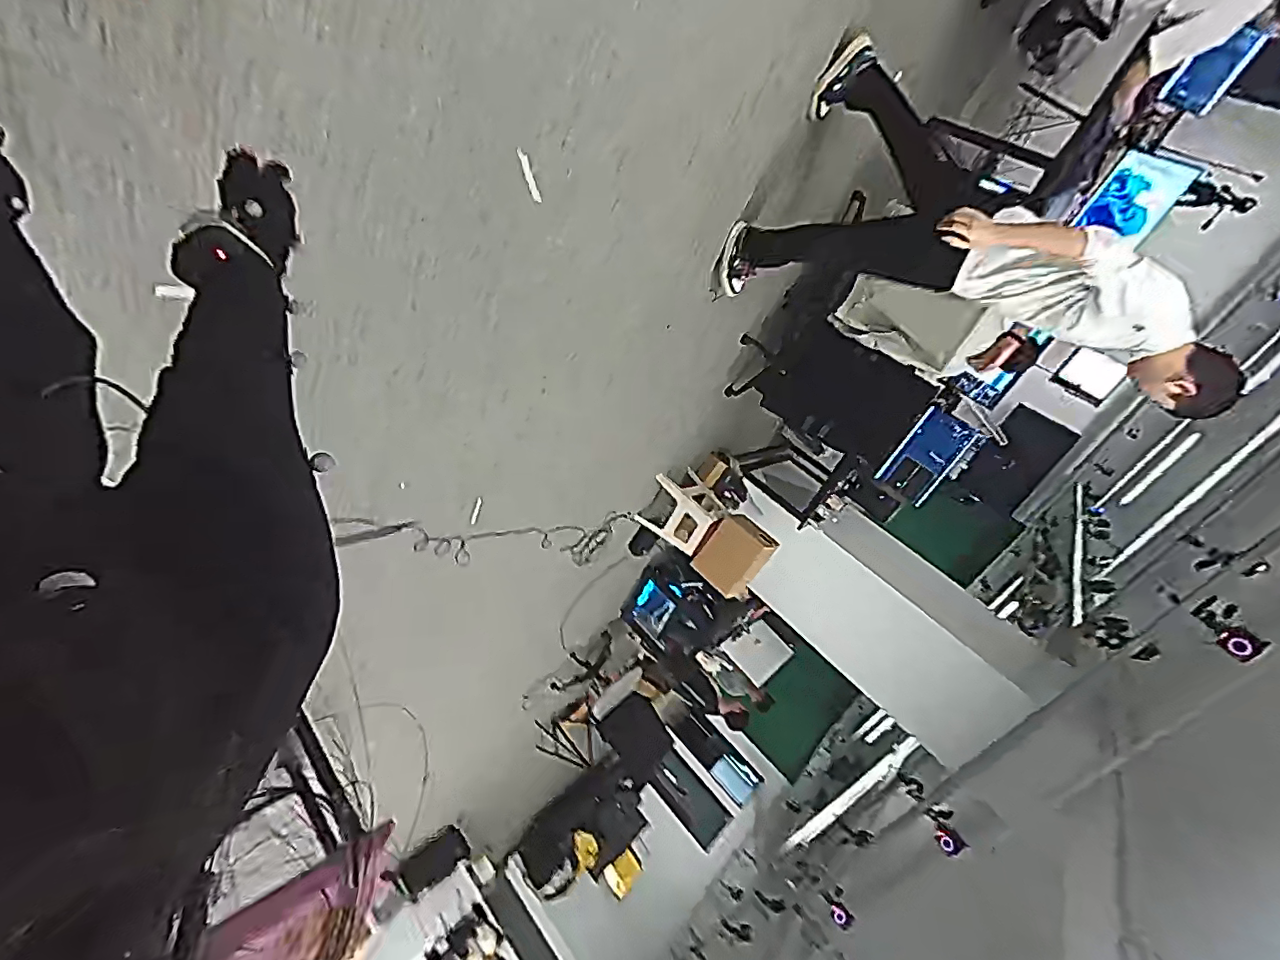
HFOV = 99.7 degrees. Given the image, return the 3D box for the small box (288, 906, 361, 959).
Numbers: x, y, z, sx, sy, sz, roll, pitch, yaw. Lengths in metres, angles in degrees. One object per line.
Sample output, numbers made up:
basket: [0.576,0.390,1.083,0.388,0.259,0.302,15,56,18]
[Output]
small box: [-1.131,1.686,1.932,0.168,0.176,0.179,-13,136,-52]
